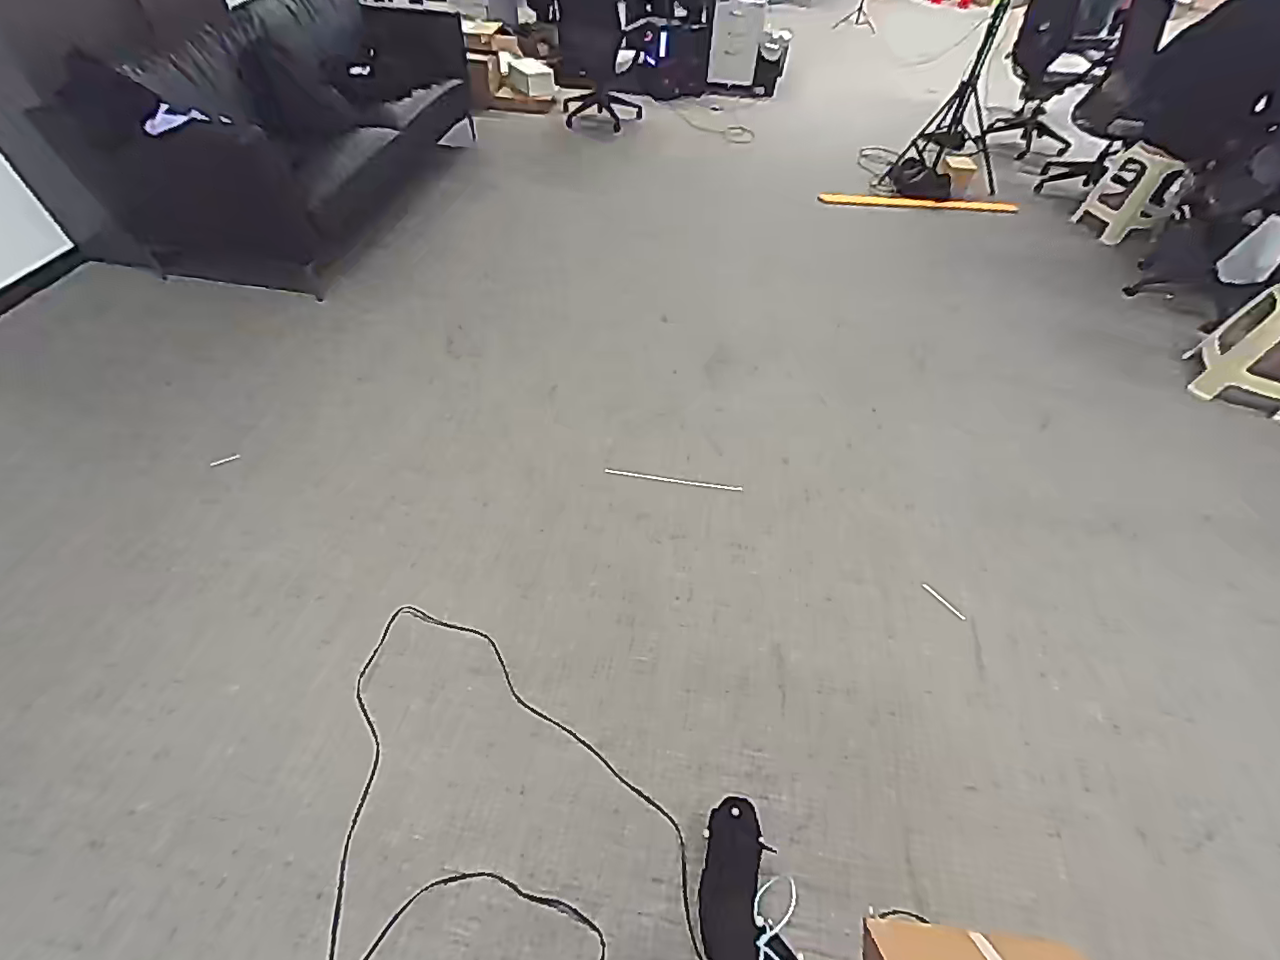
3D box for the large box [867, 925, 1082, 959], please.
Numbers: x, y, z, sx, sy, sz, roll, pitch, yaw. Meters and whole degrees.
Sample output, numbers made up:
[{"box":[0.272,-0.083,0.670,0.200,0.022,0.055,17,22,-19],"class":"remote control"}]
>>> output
[{"box":[0.473,0.815,0.600,0.320,0.408,0.320,6,84,4],"class":"large box"}]
